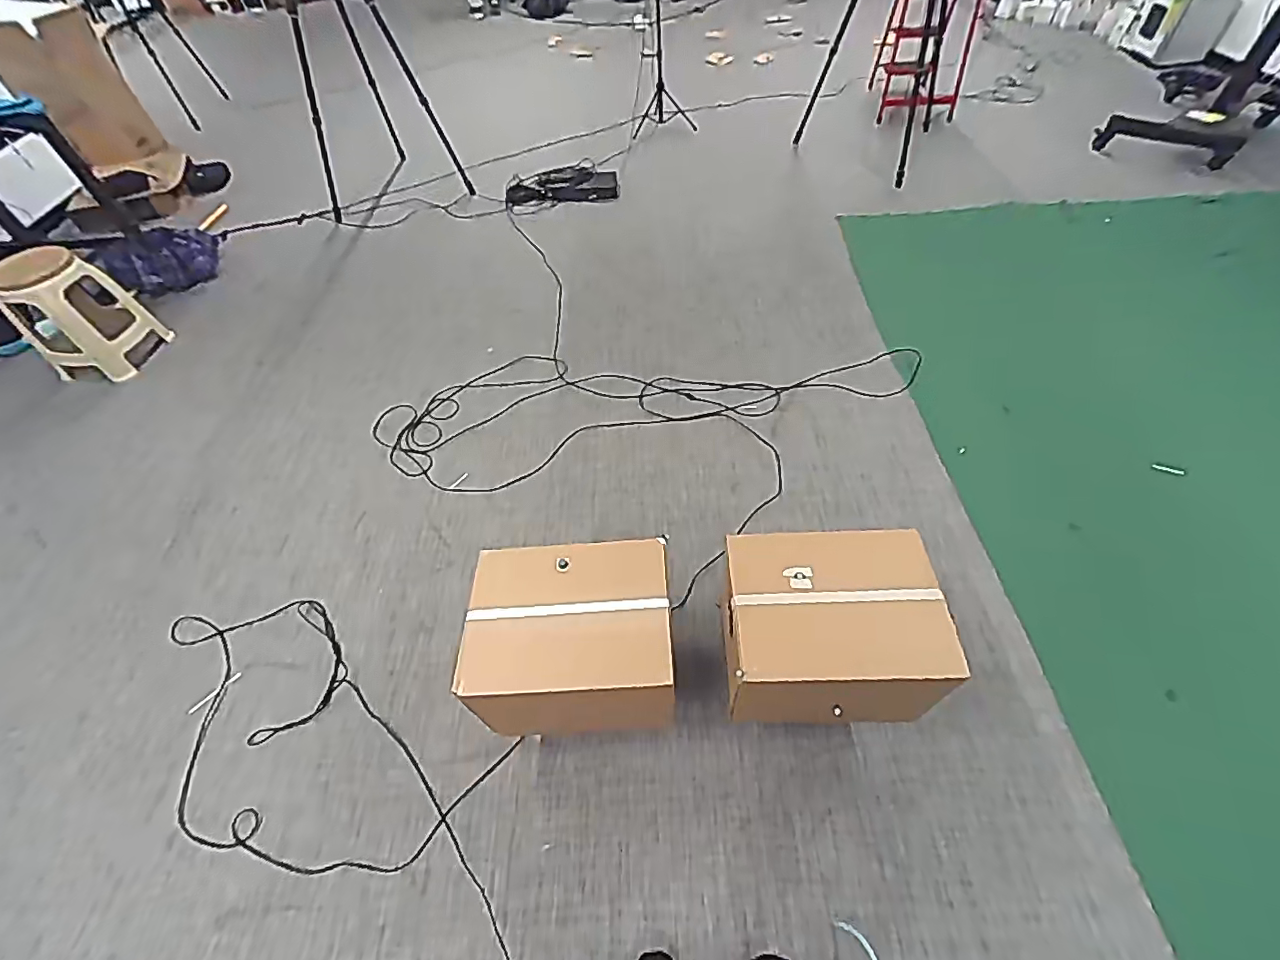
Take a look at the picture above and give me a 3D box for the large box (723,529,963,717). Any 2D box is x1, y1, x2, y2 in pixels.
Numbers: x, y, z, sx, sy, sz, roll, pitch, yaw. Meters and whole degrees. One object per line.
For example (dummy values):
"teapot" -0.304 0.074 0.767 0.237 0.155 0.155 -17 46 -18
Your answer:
"large box" 0.401 0.326 1.193 0.408 0.320 0.320 -2 52 4
